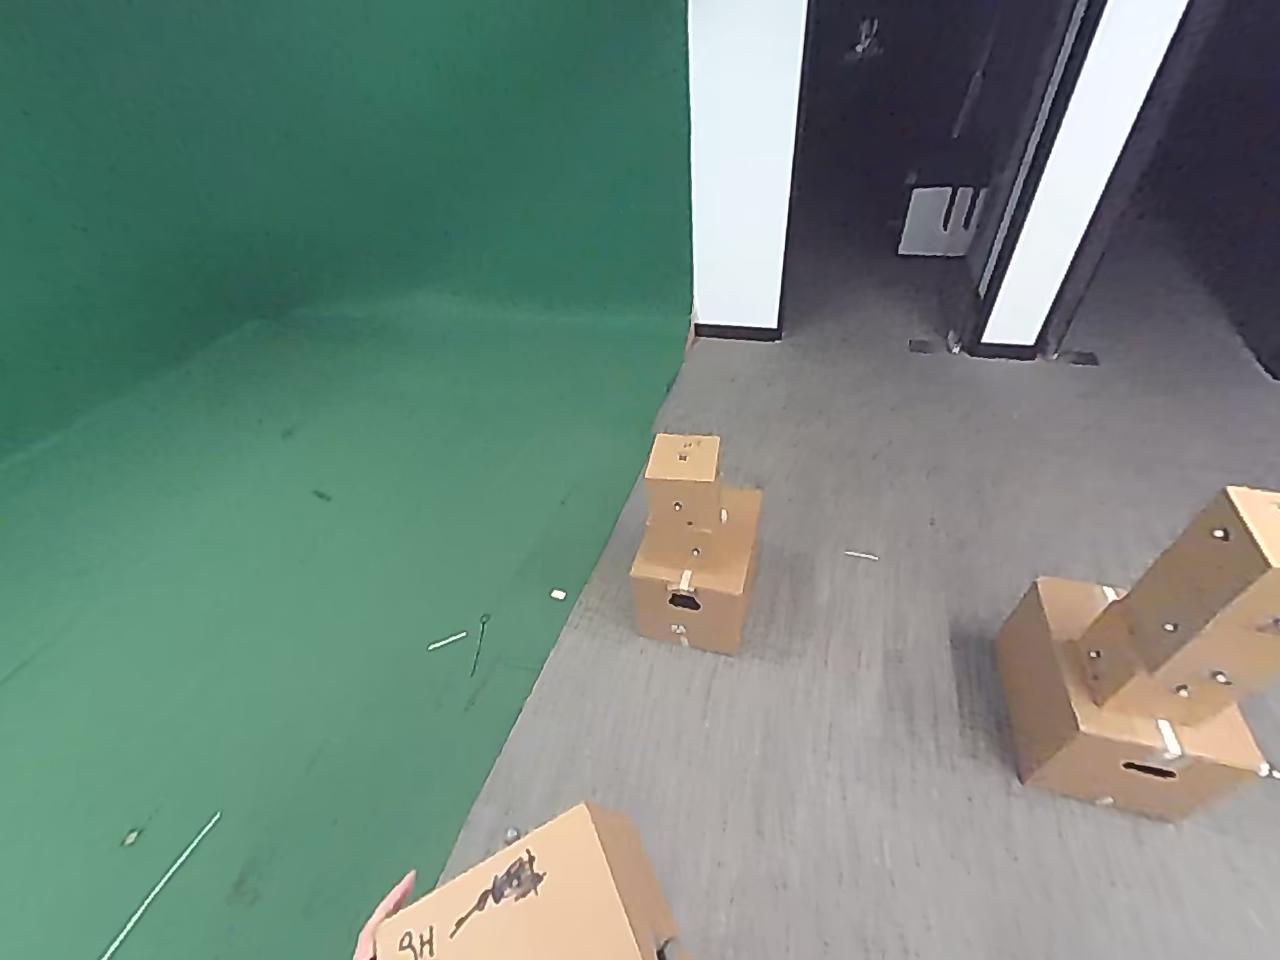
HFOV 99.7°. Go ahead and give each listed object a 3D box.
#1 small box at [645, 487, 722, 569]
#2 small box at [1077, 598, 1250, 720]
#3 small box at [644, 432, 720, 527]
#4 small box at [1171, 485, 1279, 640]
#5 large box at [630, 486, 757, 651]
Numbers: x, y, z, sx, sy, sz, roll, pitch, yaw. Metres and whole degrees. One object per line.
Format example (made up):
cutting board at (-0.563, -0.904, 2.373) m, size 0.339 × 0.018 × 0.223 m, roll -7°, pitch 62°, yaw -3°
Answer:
small box at (0.125, 0.124, 1.476) m, size 0.179 × 0.176 × 0.168 m, roll 6°, pitch 43°, yaw 15°
small box at (1.050, 0.368, 1.106) m, size 0.179 × 0.176 × 0.168 m, roll 6°, pitch 44°, yaw 15°
small box at (0.113, -0.001, 1.370) m, size 0.168 × 0.176 × 0.179 m, roll 4°, pitch 42°, yaw 12°
small box at (1.023, 0.137, 0.873) m, size 0.168 × 0.176 × 0.179 m, roll 9°, pitch 46°, yaw 17°
large box at (0.182, 0.260, 1.684) m, size 0.320 × 0.320 × 0.408 m, roll 8°, pitch 43°, yaw 15°
